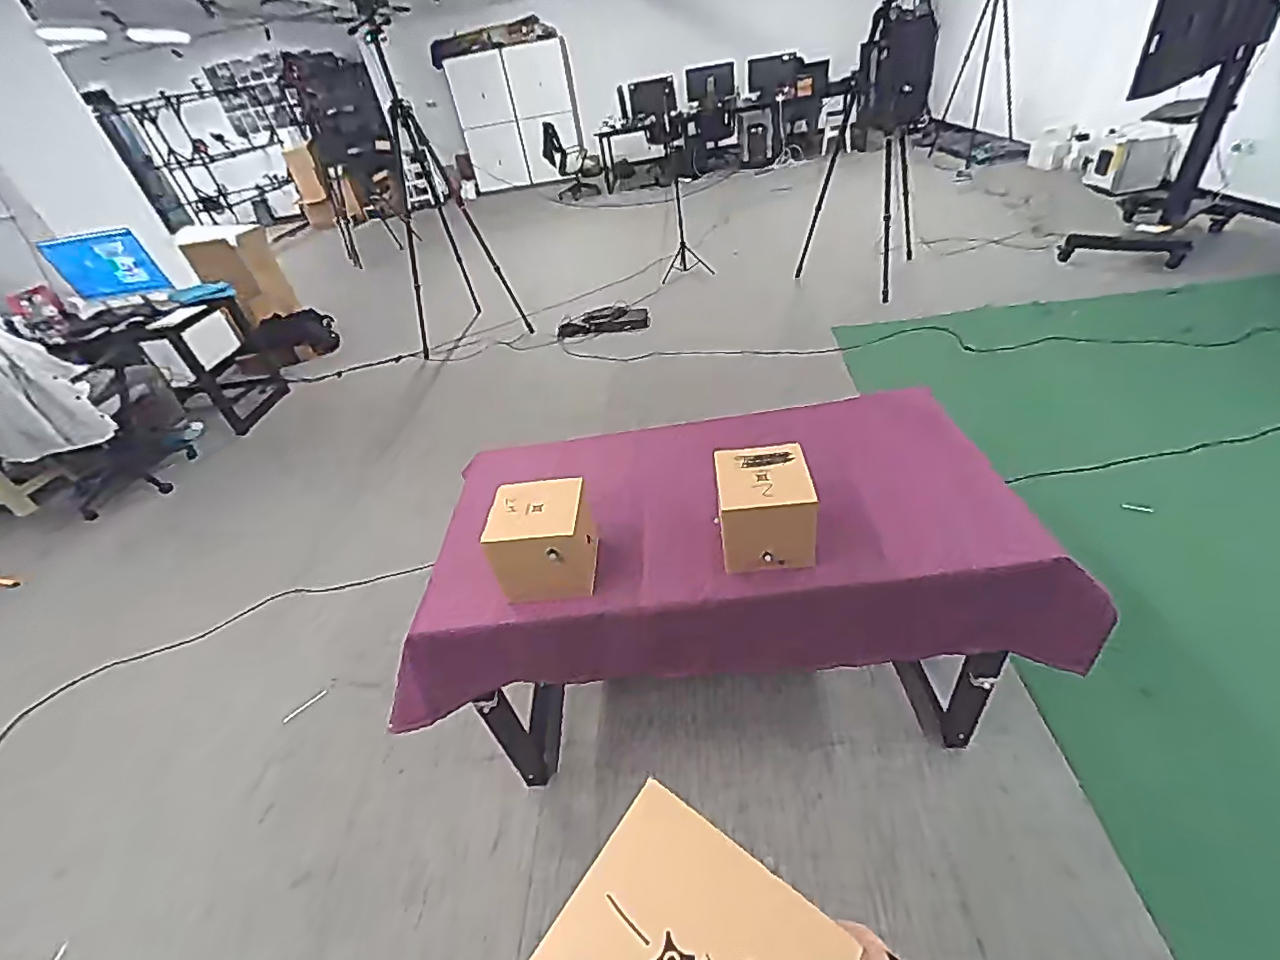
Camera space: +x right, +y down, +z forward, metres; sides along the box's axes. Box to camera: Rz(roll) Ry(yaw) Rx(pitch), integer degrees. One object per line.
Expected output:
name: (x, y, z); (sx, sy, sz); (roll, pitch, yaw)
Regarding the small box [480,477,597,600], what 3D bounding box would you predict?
small box: (-0.187, 0.117, 1.065); (0.179, 0.176, 0.168); (-7, 38, 7)
